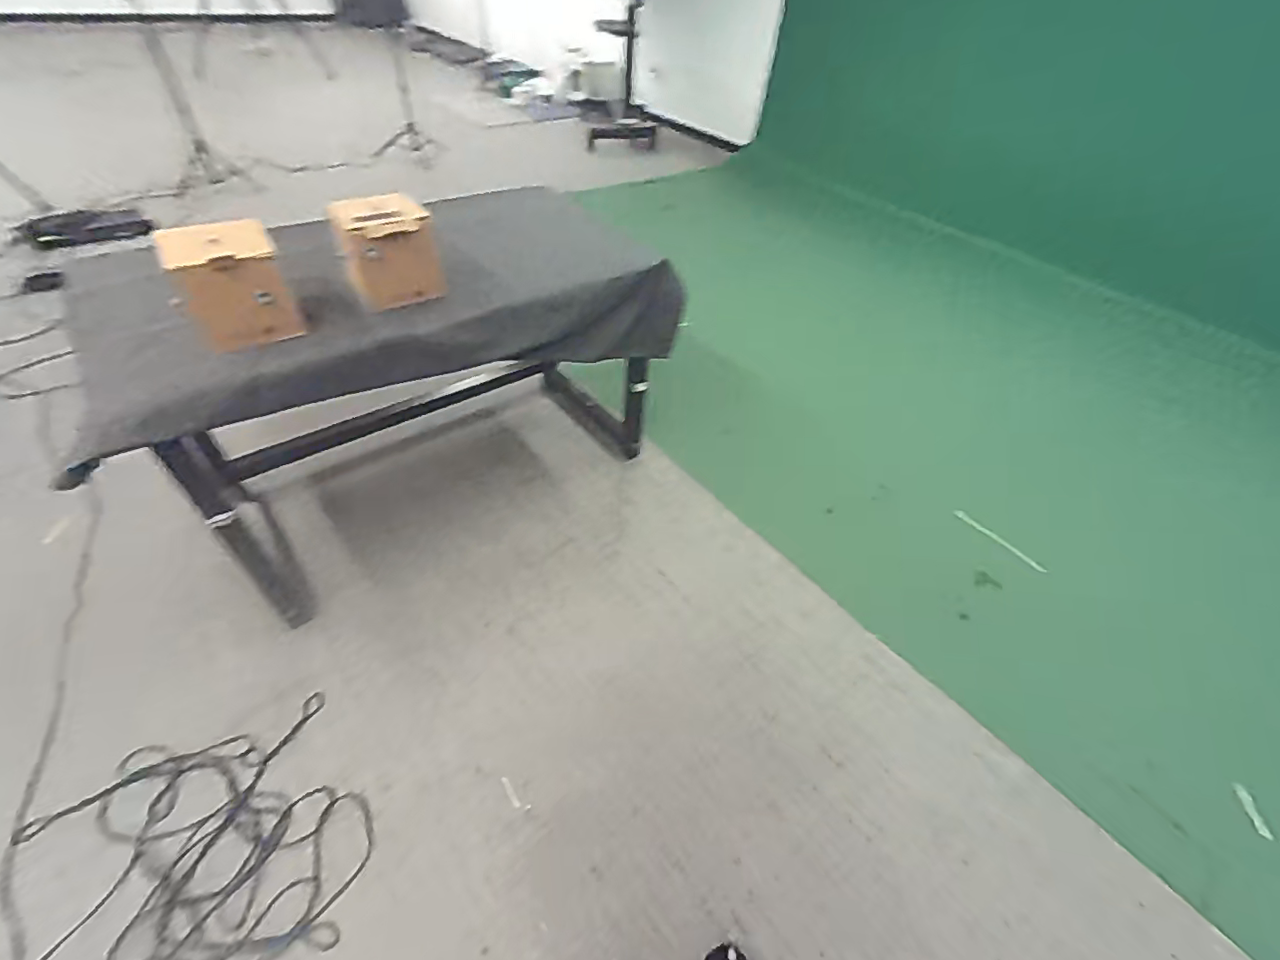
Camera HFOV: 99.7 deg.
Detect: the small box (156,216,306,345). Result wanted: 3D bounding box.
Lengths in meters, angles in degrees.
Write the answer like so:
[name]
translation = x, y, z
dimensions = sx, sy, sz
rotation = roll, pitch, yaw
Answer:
[small box]
translation = -0.754, -0.367, 1.009
dimensions = 0.168, 0.176, 0.179
rotation = -24, 51, -29
